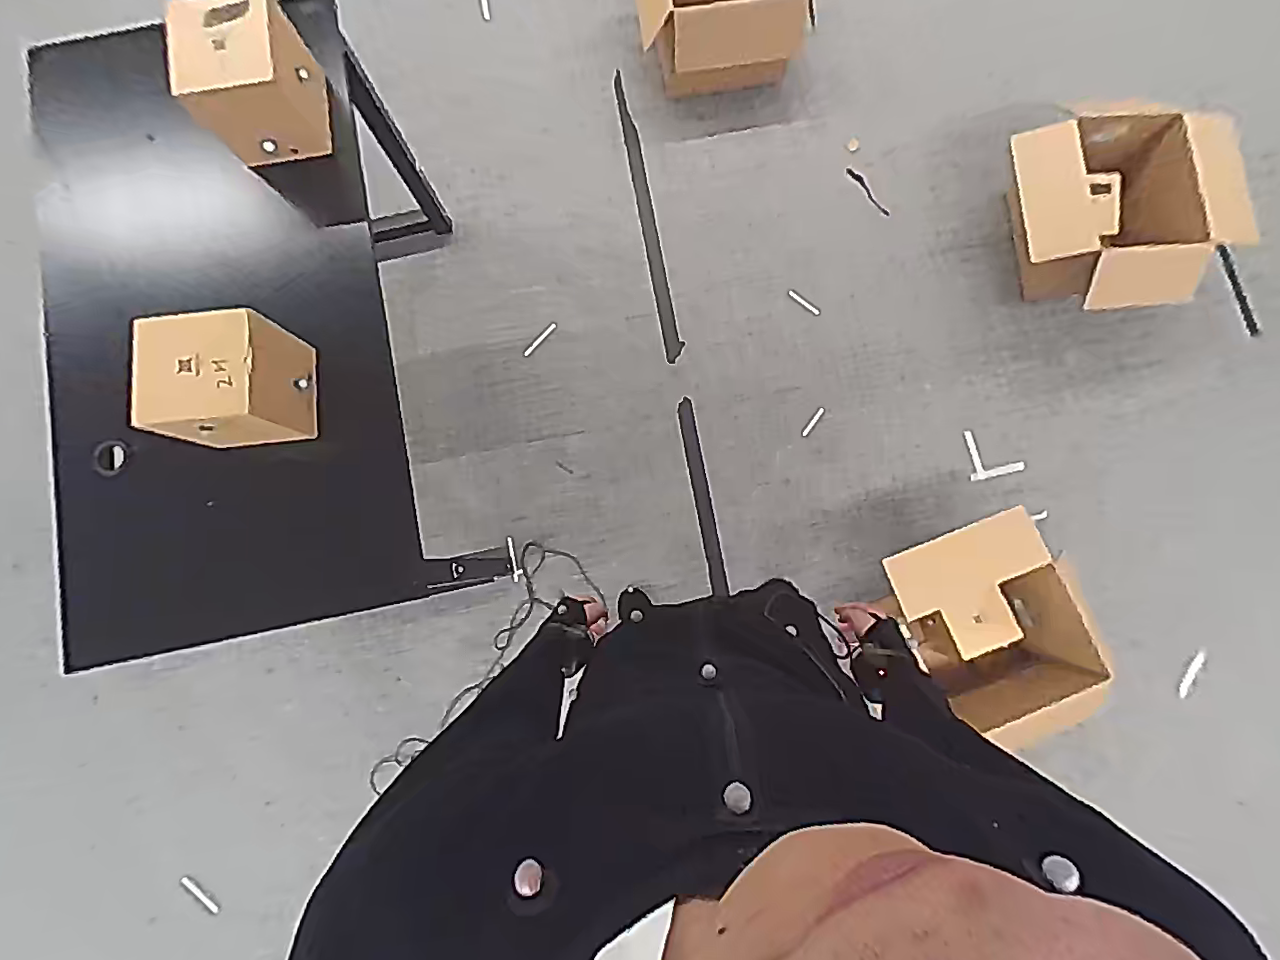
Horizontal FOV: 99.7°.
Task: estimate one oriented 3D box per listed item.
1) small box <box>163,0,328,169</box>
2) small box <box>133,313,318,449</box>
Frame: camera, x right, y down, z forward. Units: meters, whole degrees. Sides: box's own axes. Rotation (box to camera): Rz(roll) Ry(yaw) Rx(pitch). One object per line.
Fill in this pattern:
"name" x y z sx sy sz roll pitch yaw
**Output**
"small box" -0.677 -0.688 0.945 0.168 0.176 0.179 -10 84 0
"small box" -0.656 -0.150 0.874 0.179 0.176 0.168 -6 83 0
